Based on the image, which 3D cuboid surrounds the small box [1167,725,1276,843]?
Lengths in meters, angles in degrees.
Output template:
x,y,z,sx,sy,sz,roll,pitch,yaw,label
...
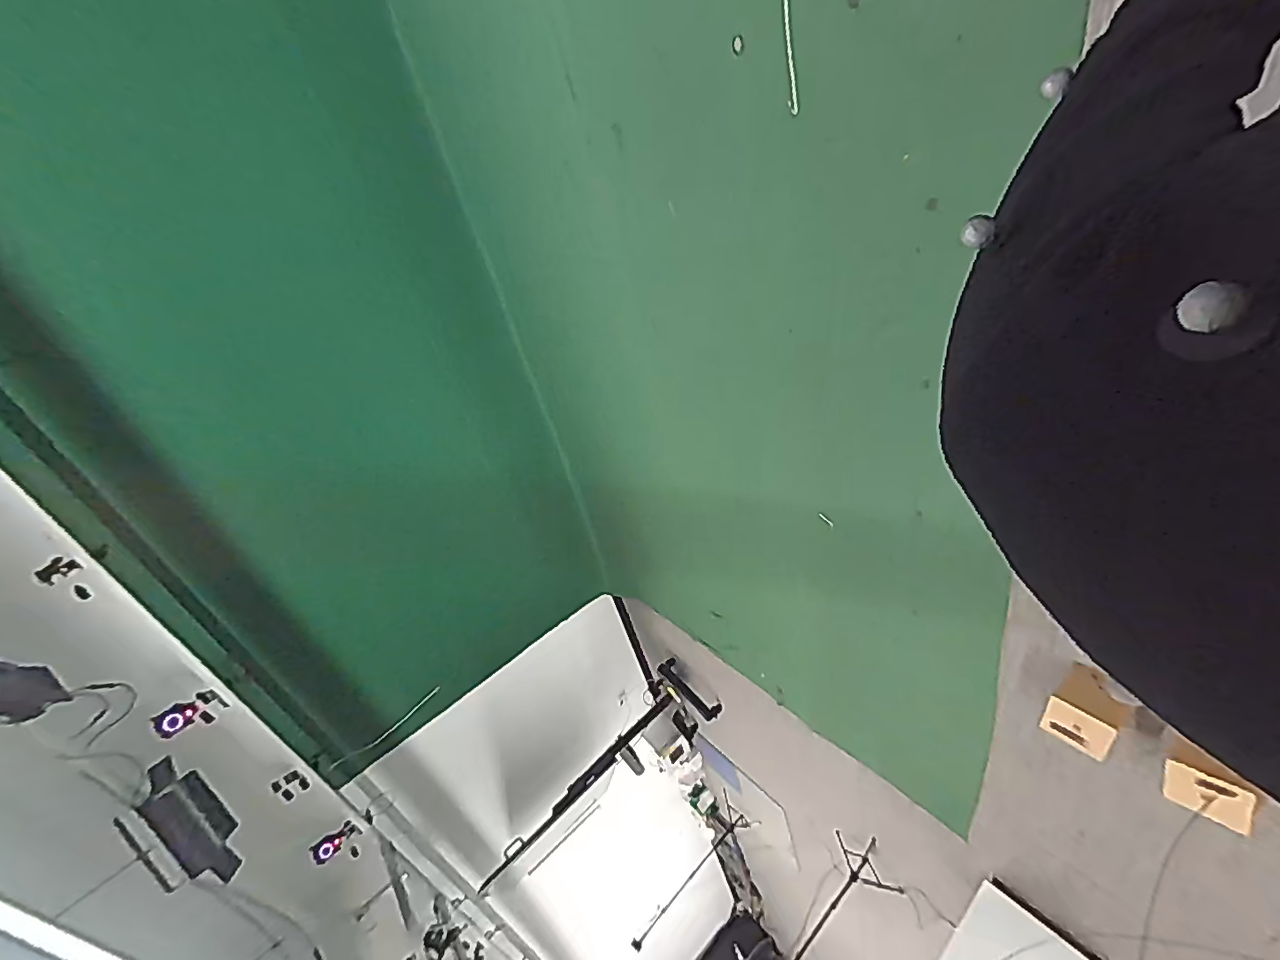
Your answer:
x,y,z,sx,sy,sz,roll,pitch,yaw,label
1.548,0.800,1.442,0.168,0.176,0.179,16,133,55,small box
